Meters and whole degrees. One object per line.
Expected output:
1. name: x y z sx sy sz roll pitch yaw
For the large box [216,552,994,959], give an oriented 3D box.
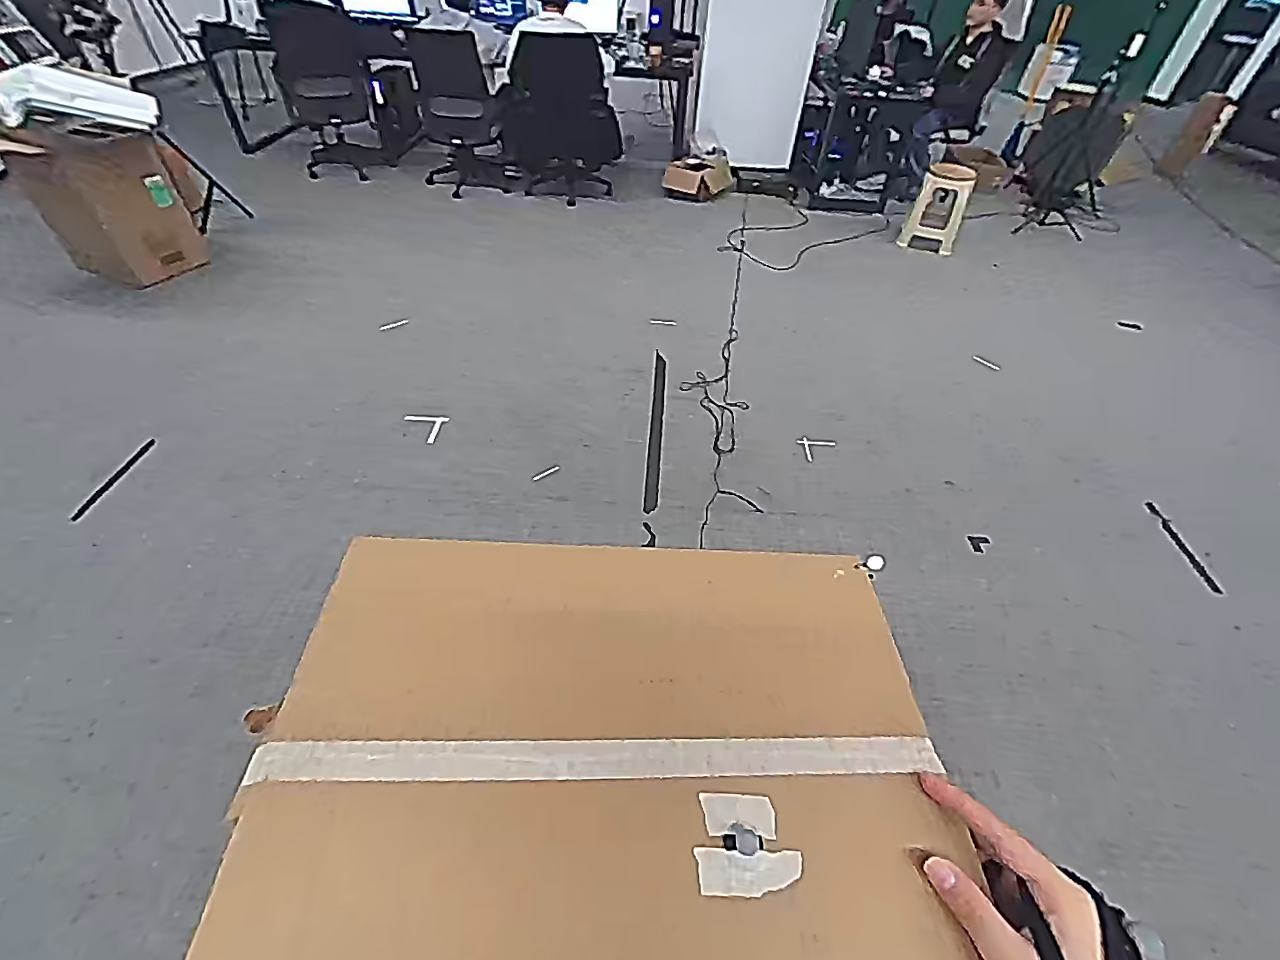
1. large box: -0.028 0.277 0.444 0.408 0.320 0.320 3 48 -7
